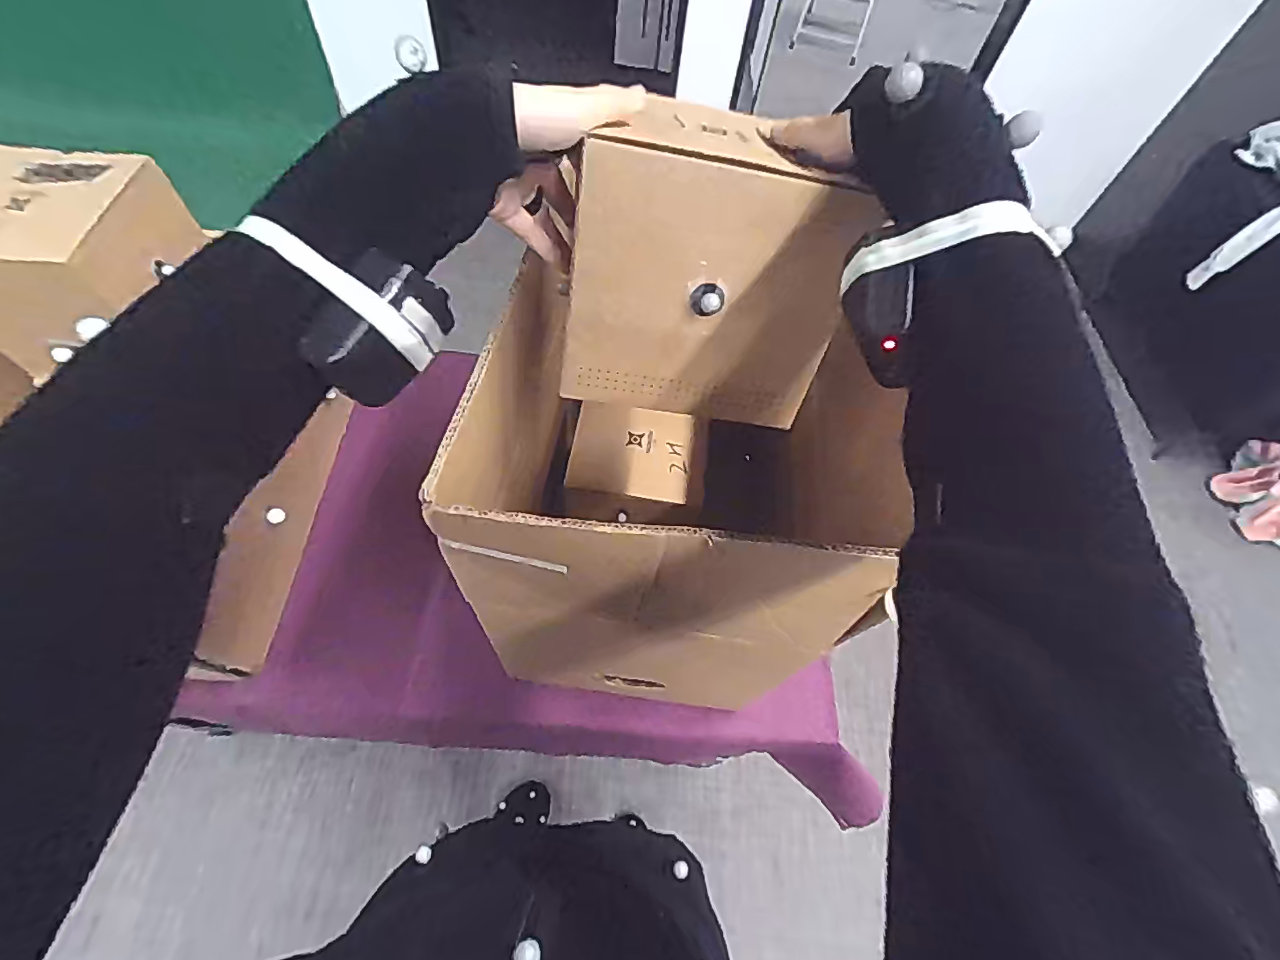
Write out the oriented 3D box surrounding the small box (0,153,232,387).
[{"bbox_3d":[-0.604,-0.227,0.602,0.168,0.176,0.179,2,60,-4],"label":"small box"}]
